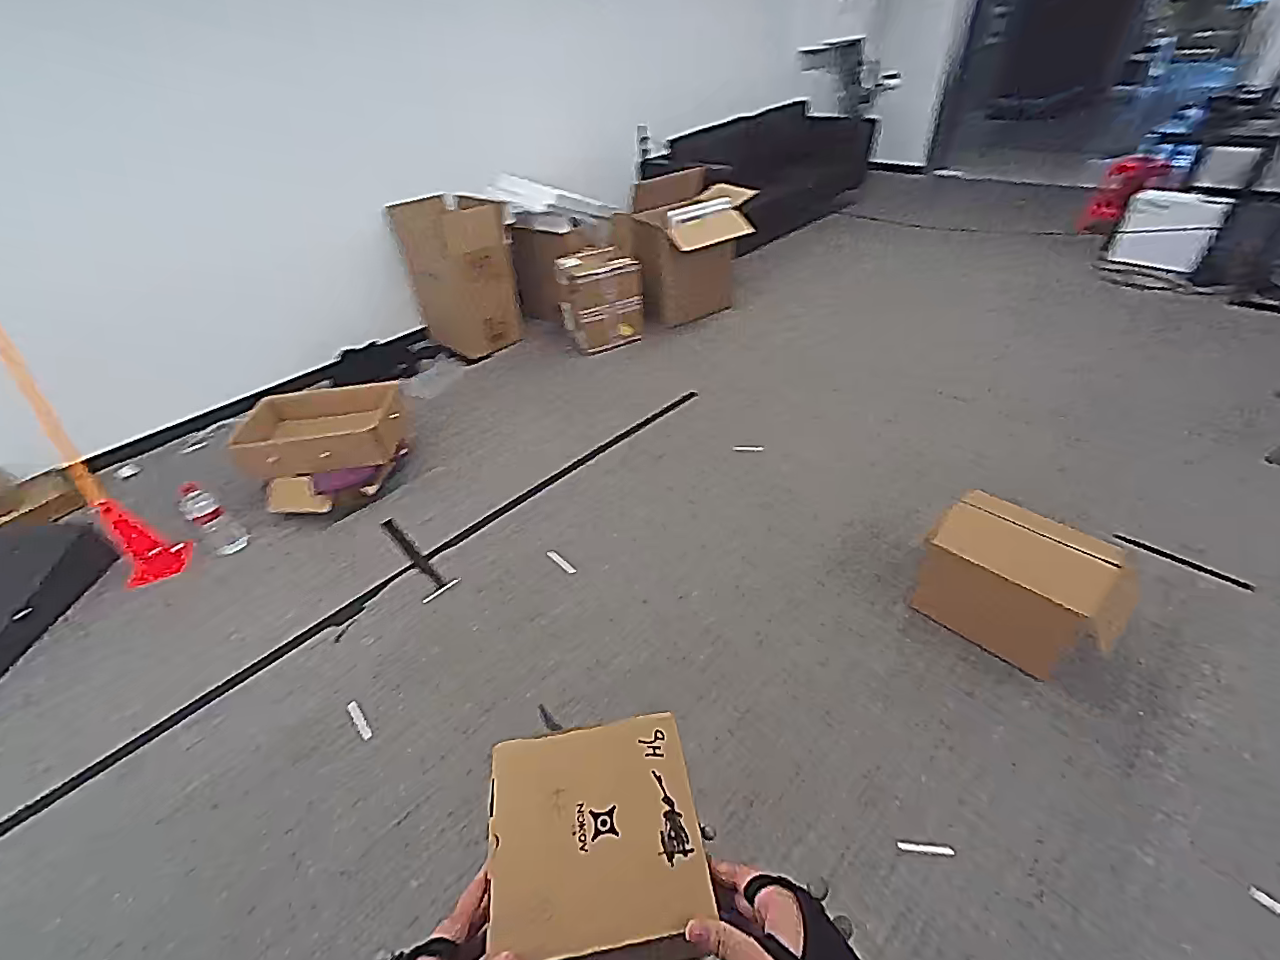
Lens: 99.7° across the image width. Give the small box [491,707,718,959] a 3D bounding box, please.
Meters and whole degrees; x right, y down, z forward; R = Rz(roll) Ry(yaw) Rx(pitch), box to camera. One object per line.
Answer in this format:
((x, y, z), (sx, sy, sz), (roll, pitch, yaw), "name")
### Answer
((-0.030, 0.345, 0.513), (0.179, 0.176, 0.168), (-8, 42, -4), "small box")
